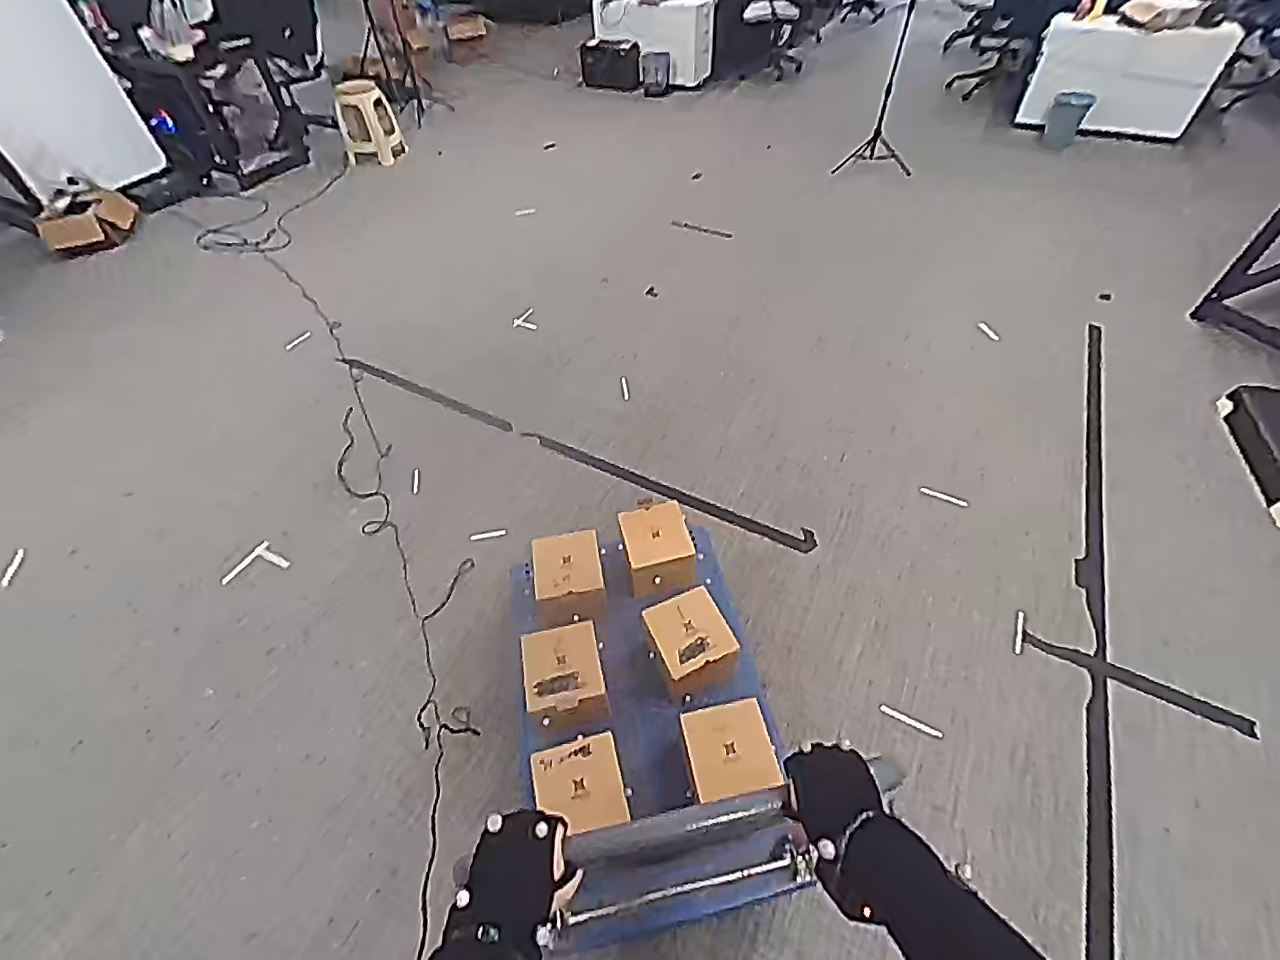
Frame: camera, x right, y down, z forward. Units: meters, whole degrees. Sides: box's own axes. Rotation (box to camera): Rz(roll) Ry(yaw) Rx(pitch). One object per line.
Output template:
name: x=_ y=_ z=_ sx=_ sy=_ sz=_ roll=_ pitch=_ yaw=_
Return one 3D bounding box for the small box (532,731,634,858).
small box: x=-0.110 y=0.634 z=1.082 sx=0.168 sy=0.176 sz=0.179 roll=-13 pitch=51 yaw=-9

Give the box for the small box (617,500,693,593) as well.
small box: x=0.041 y=0.186 z=1.449 sx=0.168 sy=0.176 sz=0.179 roll=-13 pitch=51 yaw=-8

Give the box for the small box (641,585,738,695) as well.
small box: x=0.113 y=0.386 z=1.278 sx=0.168 sy=0.176 sz=0.179 roll=-20 pitch=51 yaw=-14

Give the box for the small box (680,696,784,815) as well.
small box: x=0.181 y=0.576 z=1.118 sx=0.168 sy=0.176 sz=0.179 roll=-10 pitch=50 yaw=-6

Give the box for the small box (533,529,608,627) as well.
small box: x=-0.179 y=0.255 z=1.400 sx=0.168 sy=0.176 sz=0.179 roll=-9 pitch=51 yaw=-5
